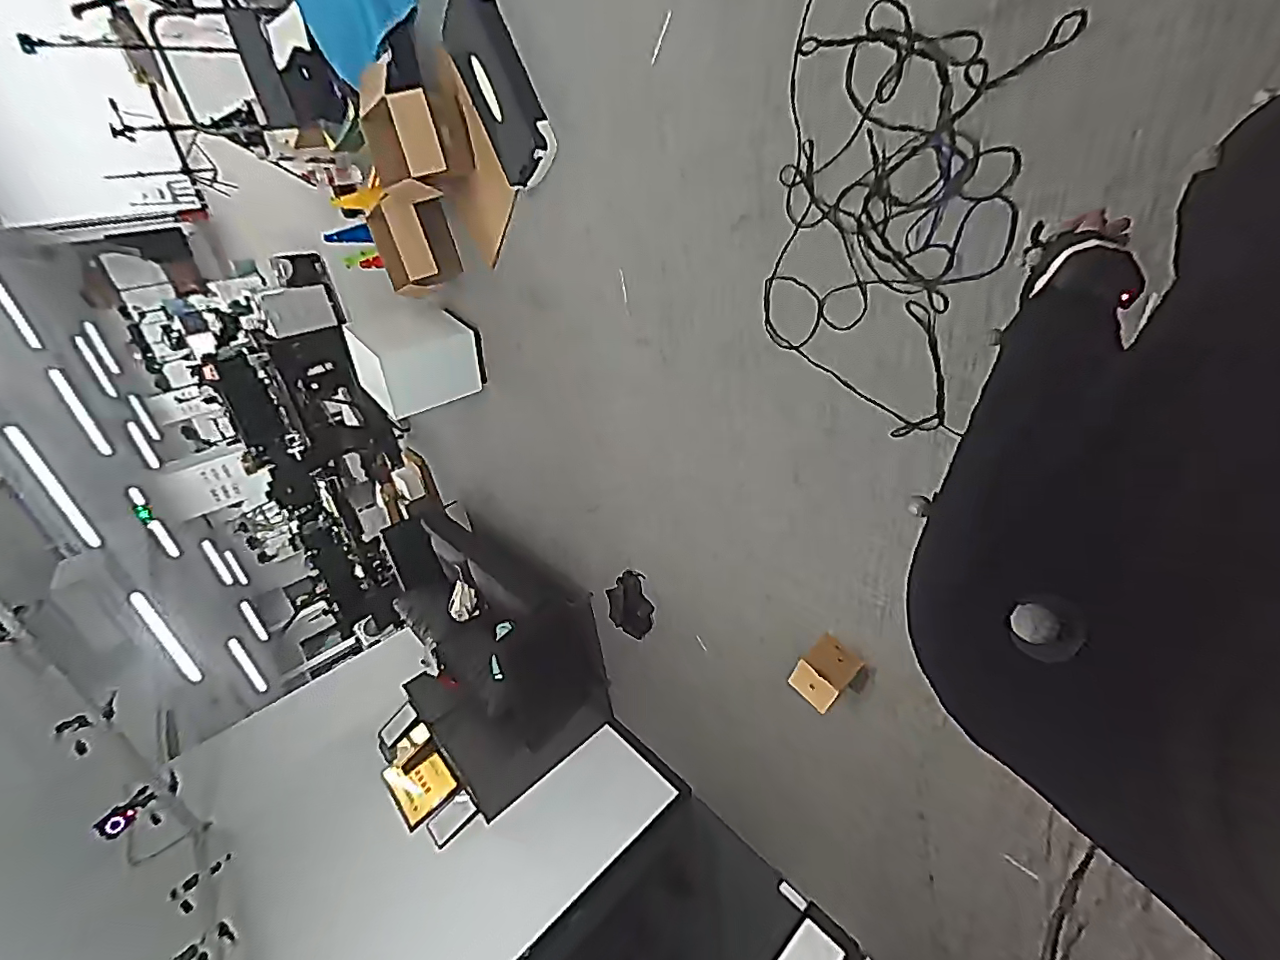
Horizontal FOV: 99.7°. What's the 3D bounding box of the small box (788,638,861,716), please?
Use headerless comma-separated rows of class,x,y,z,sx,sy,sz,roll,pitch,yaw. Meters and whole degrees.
small box,0.678,0.718,1.980,0.168,0.176,0.179,41,141,31
